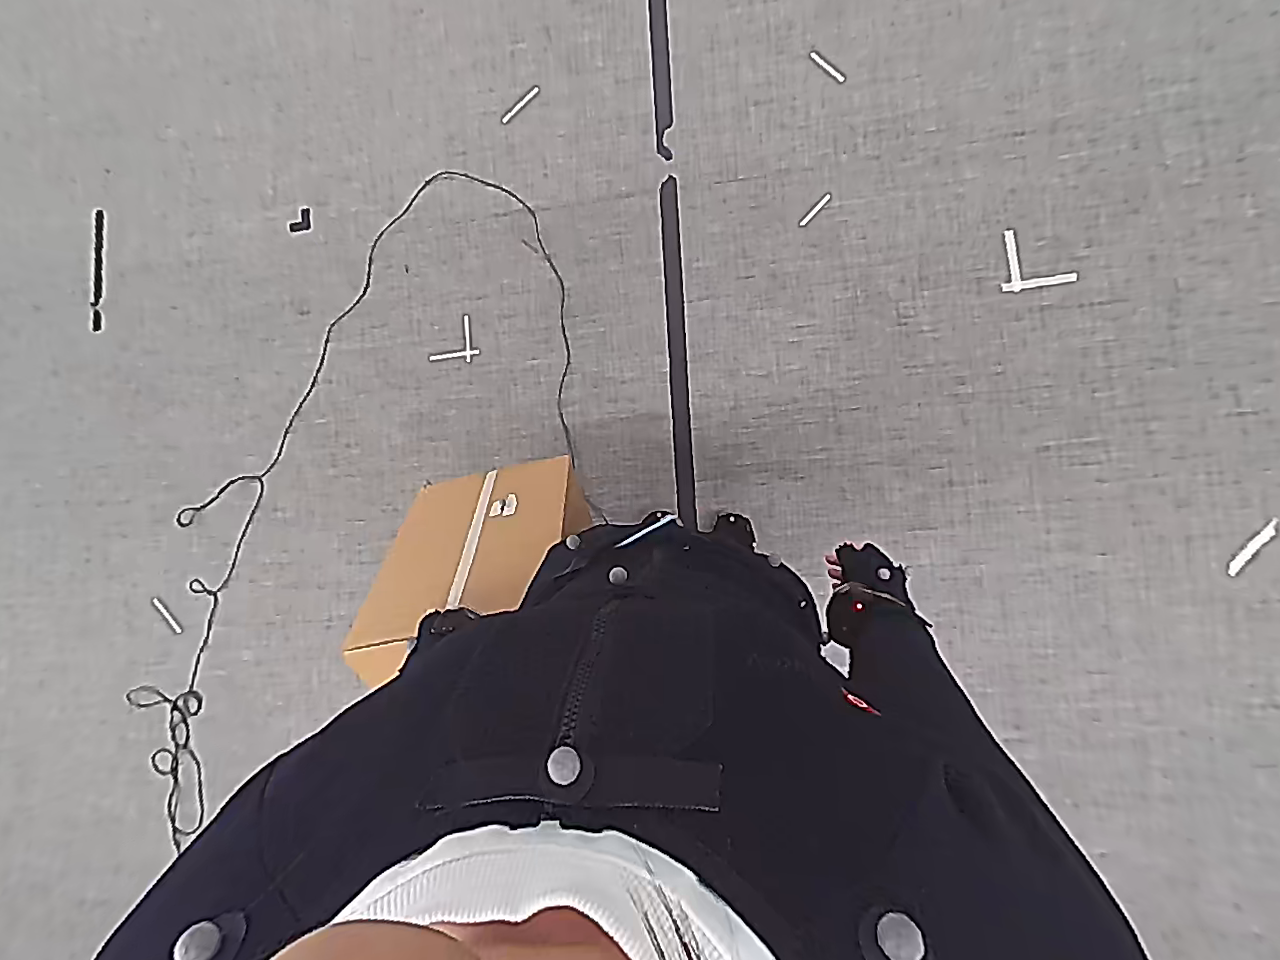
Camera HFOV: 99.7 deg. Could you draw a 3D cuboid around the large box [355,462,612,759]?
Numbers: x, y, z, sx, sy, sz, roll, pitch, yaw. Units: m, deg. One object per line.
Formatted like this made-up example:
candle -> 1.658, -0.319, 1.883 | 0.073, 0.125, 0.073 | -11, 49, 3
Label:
large box -> -0.240, 0.224, 1.000 | 0.320, 0.408, 0.320 | -11, 123, 4
